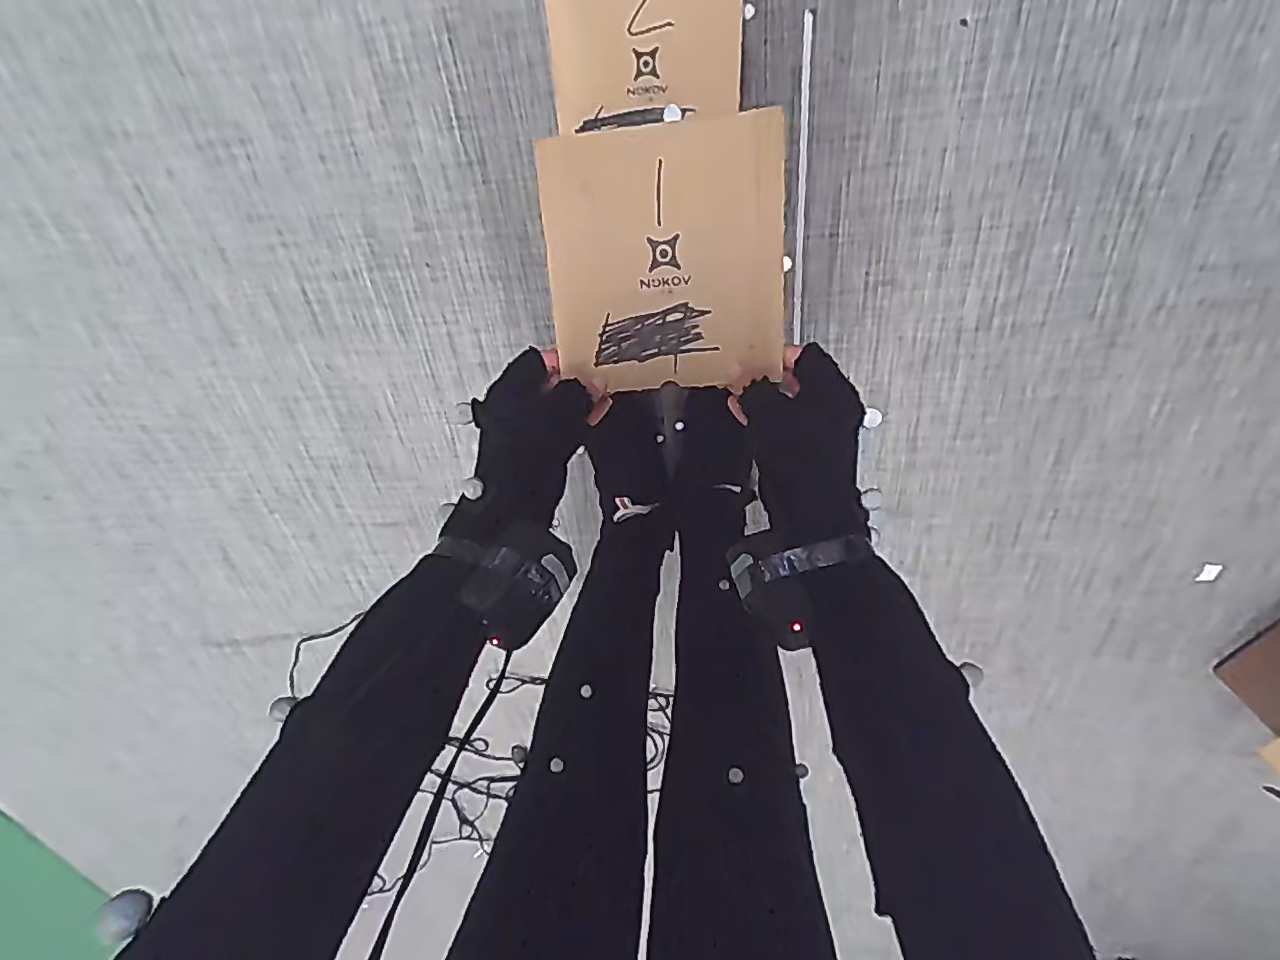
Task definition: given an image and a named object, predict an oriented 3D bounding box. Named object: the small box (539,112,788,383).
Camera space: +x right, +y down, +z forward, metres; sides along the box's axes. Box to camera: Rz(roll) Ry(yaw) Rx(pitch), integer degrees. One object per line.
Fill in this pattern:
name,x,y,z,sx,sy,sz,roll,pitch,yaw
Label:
small box,0.029,-0.196,0.460,0.168,0.176,0.179,-1,119,8
